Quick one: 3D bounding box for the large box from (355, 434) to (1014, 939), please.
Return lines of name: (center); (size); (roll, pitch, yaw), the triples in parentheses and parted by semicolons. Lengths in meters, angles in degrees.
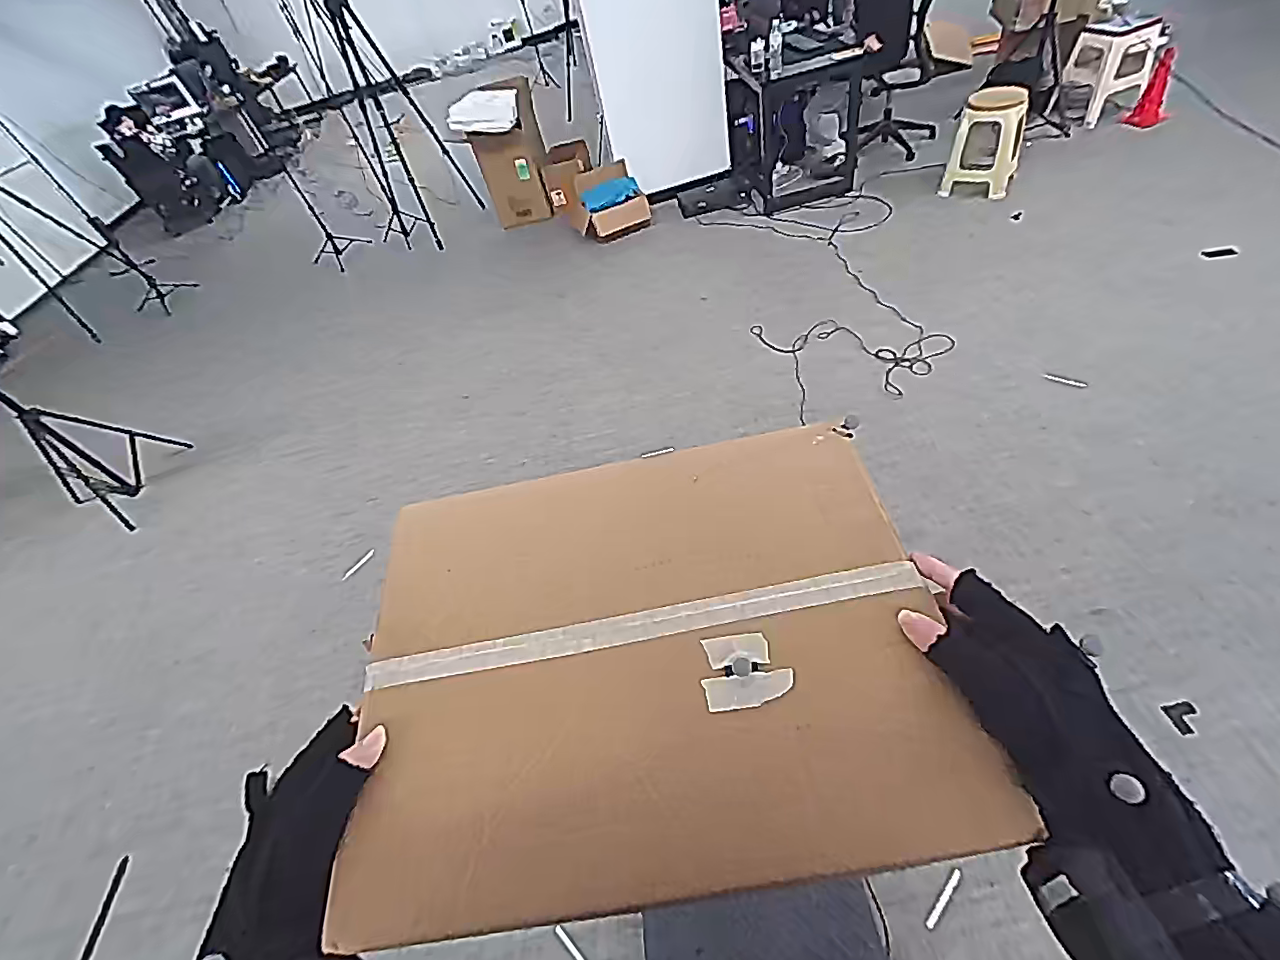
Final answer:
large box: (0.024, 0.204, 0.522); (0.408, 0.320, 0.320); (-11, 52, 2)
